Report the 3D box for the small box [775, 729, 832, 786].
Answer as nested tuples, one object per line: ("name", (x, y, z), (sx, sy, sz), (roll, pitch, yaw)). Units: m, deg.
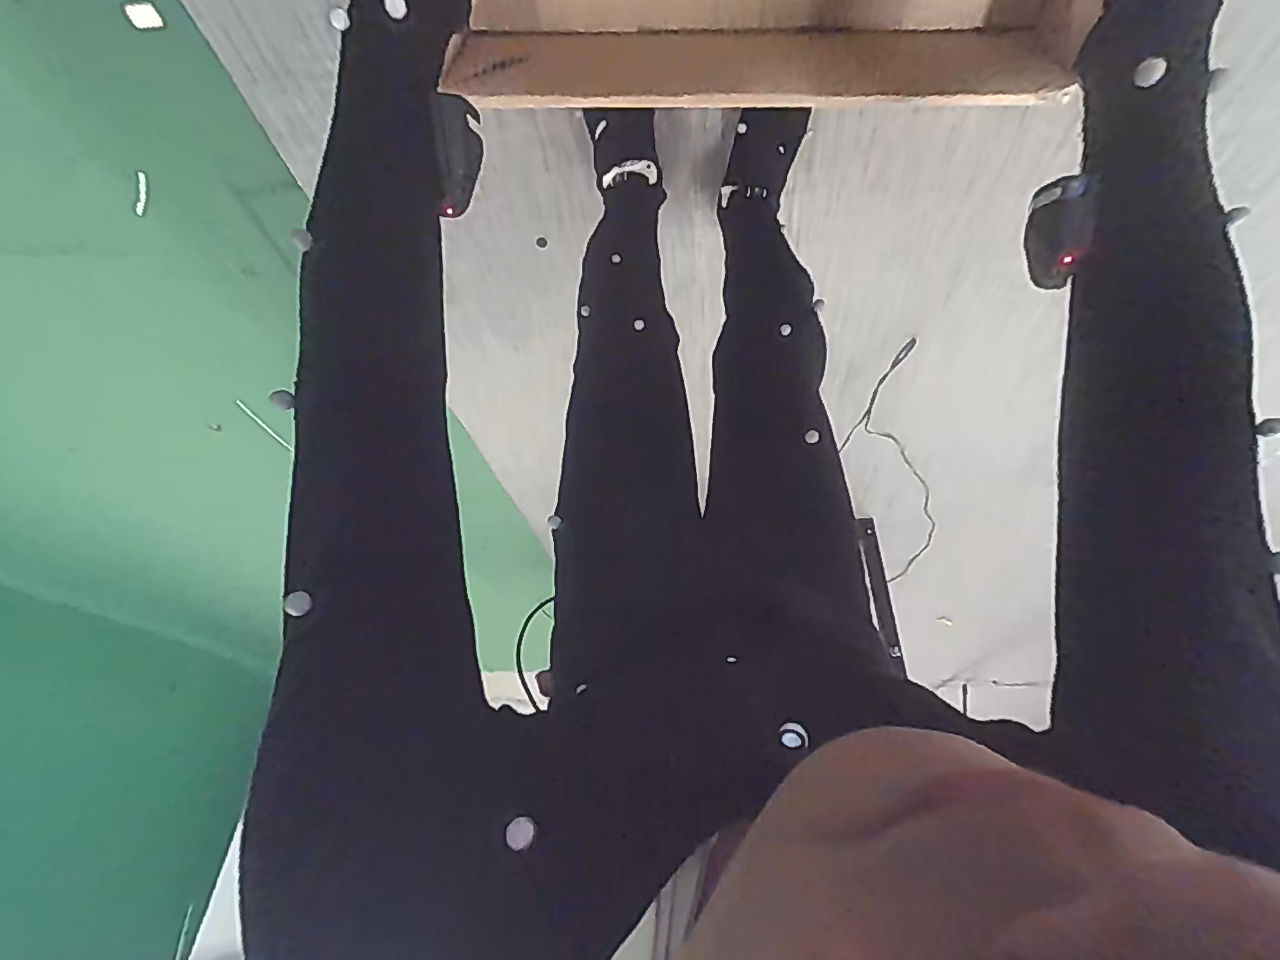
("small box", (0.572, 0.988, 1.914), (0.168, 0.176, 0.179), (-2, 147, 7))
